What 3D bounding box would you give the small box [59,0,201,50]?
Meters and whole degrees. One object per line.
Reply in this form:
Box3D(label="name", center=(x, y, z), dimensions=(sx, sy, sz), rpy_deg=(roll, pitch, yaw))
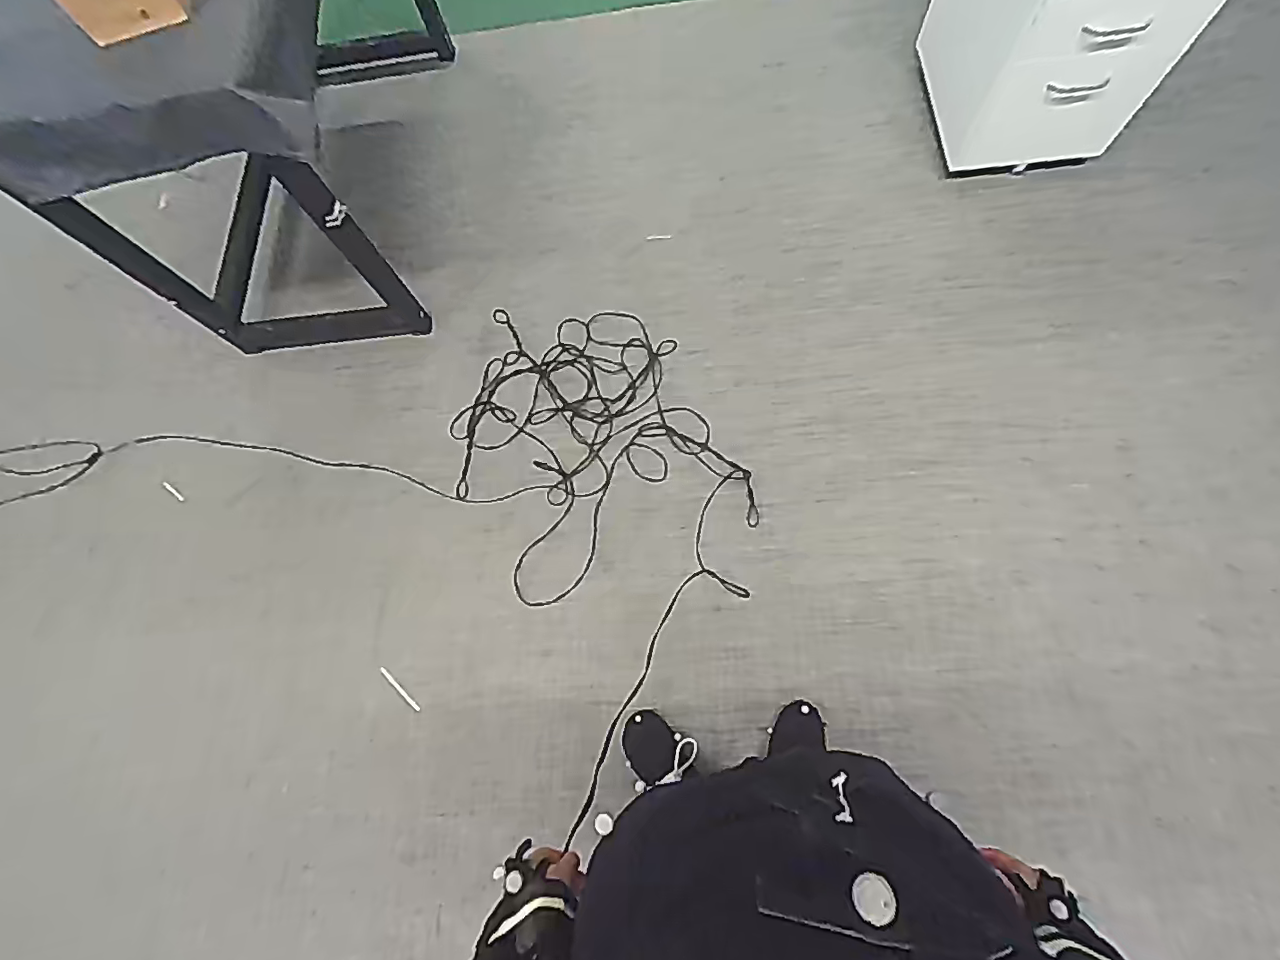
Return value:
Box3D(label="small box", center=(-0.874, -0.860, 0.899), dimensions=(0.168, 0.176, 0.179), rpy_deg=(-17, 70, 1))
